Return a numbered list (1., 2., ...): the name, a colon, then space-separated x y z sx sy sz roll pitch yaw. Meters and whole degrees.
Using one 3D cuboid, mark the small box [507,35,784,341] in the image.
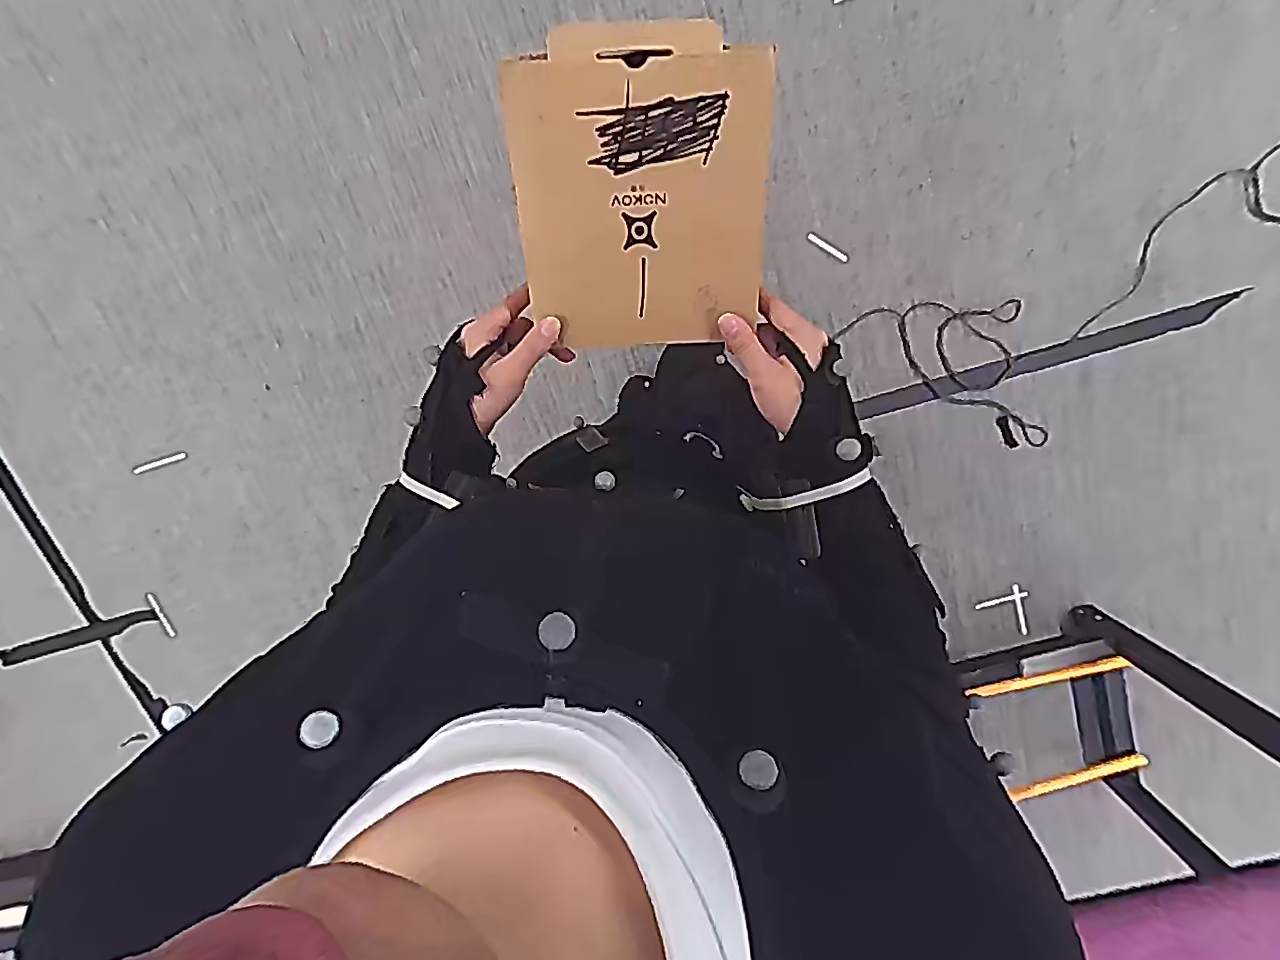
1. small box: 0.005 -0.220 0.423 0.168 0.176 0.179 -1 122 2
